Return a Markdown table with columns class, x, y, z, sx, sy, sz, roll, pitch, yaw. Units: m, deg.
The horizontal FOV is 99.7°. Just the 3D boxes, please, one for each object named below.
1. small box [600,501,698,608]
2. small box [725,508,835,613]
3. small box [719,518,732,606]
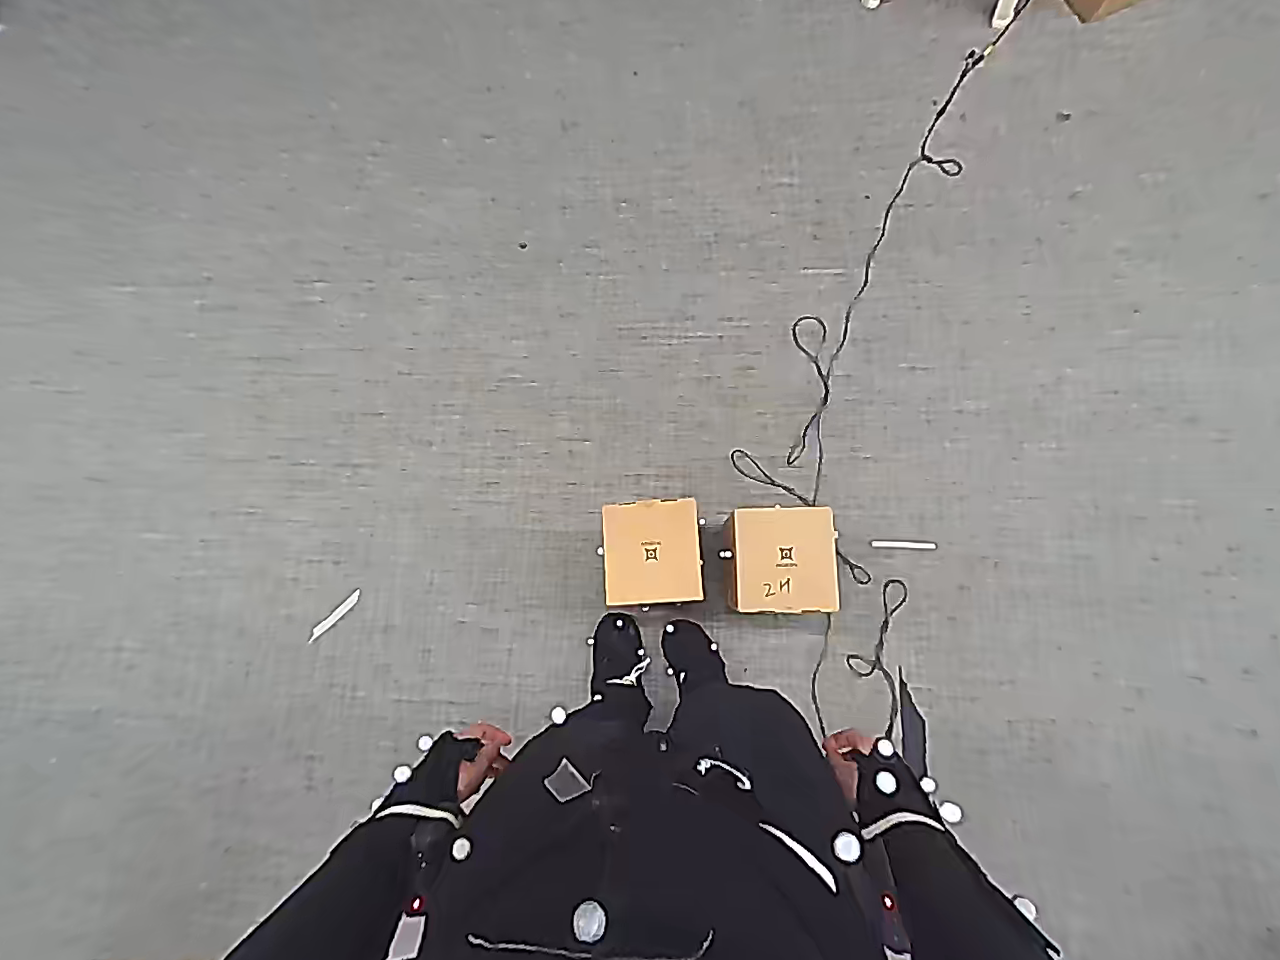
| class | x | y | z | sx | sy | sz | roll | pitch | yaw |
| --- | --- | --- | --- | --- | --- | --- | --- | --- | --- |
| small box | 0.021 | 0.141 | 1.005 | 0.168 | 0.176 | 0.179 | -5 | 78 | 4 |
| small box | 0.244 | 0.148 | 0.982 | 0.168 | 0.176 | 0.179 | -1 | 80 | 5 |
| small box | 0.256 | 0.178 | 1.144 | 0.168 | 0.176 | 0.179 | 0 | 80 | 5 |
